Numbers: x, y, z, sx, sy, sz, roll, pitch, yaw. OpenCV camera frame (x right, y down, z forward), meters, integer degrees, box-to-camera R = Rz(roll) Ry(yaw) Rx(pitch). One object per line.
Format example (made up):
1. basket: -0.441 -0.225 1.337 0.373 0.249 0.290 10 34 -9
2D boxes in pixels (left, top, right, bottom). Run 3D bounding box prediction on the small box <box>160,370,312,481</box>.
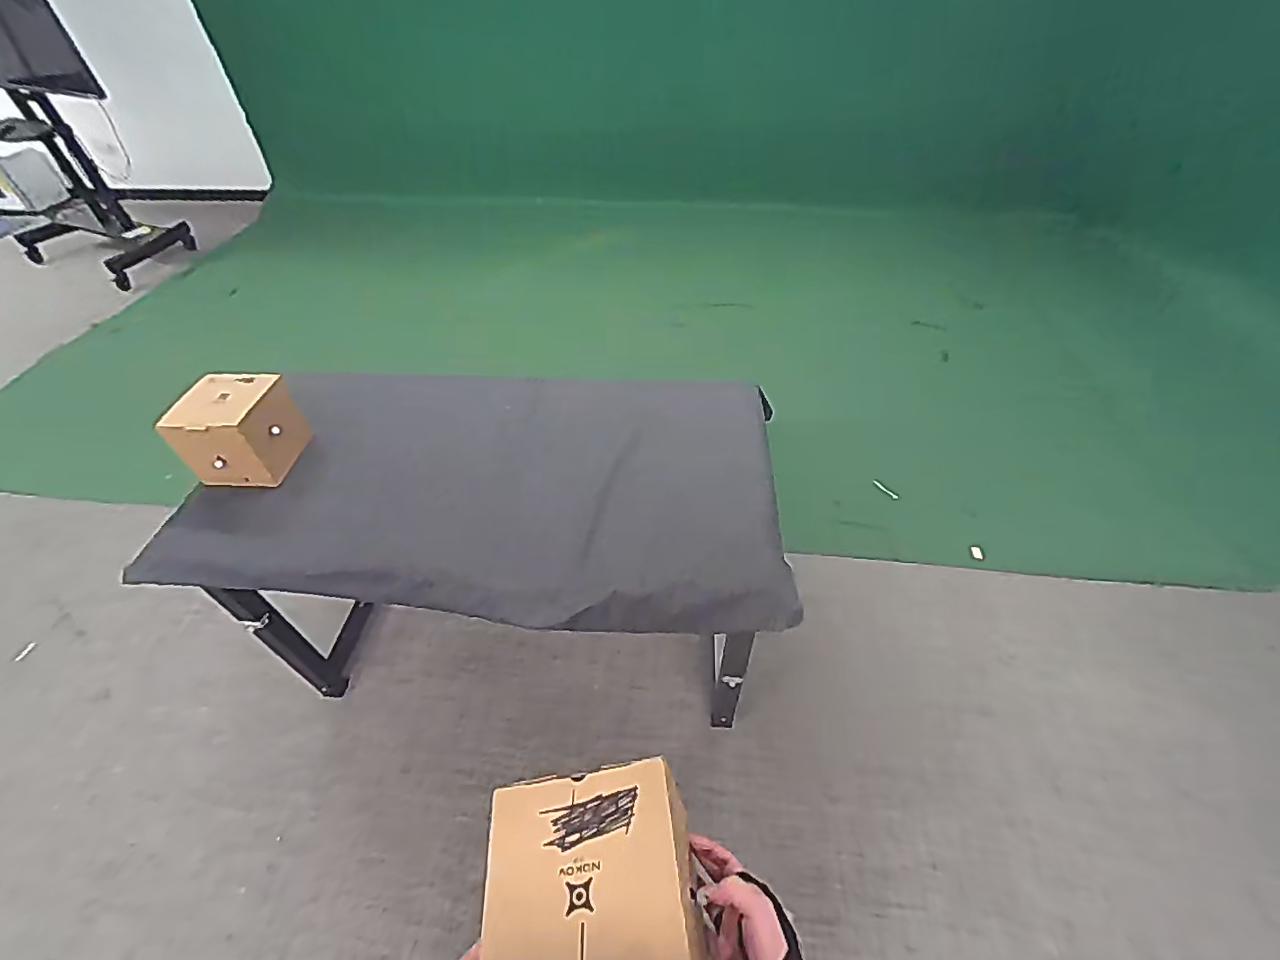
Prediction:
1. small box: -0.842 -0.113 1.155 0.168 0.176 0.179 2 47 2
